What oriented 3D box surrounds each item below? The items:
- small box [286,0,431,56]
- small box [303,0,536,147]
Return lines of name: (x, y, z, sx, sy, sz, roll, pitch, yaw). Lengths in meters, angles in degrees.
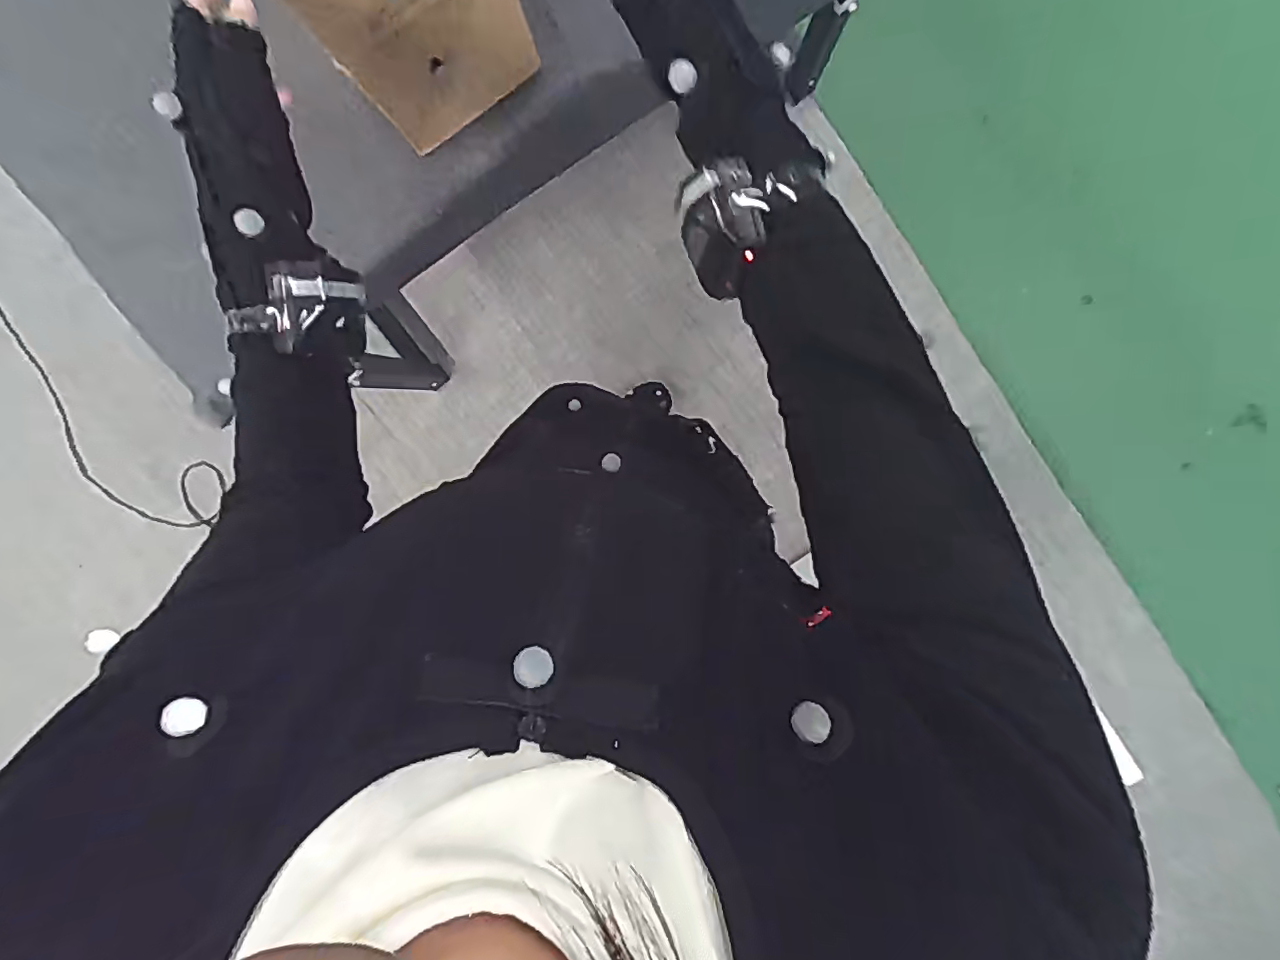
small box: (-0.244, -0.470, 0.383, 0.168, 0.176, 0.179, -33, 92, 6)
small box: (-0.233, -0.487, 0.547, 0.179, 0.176, 0.168, -33, 94, 7)
